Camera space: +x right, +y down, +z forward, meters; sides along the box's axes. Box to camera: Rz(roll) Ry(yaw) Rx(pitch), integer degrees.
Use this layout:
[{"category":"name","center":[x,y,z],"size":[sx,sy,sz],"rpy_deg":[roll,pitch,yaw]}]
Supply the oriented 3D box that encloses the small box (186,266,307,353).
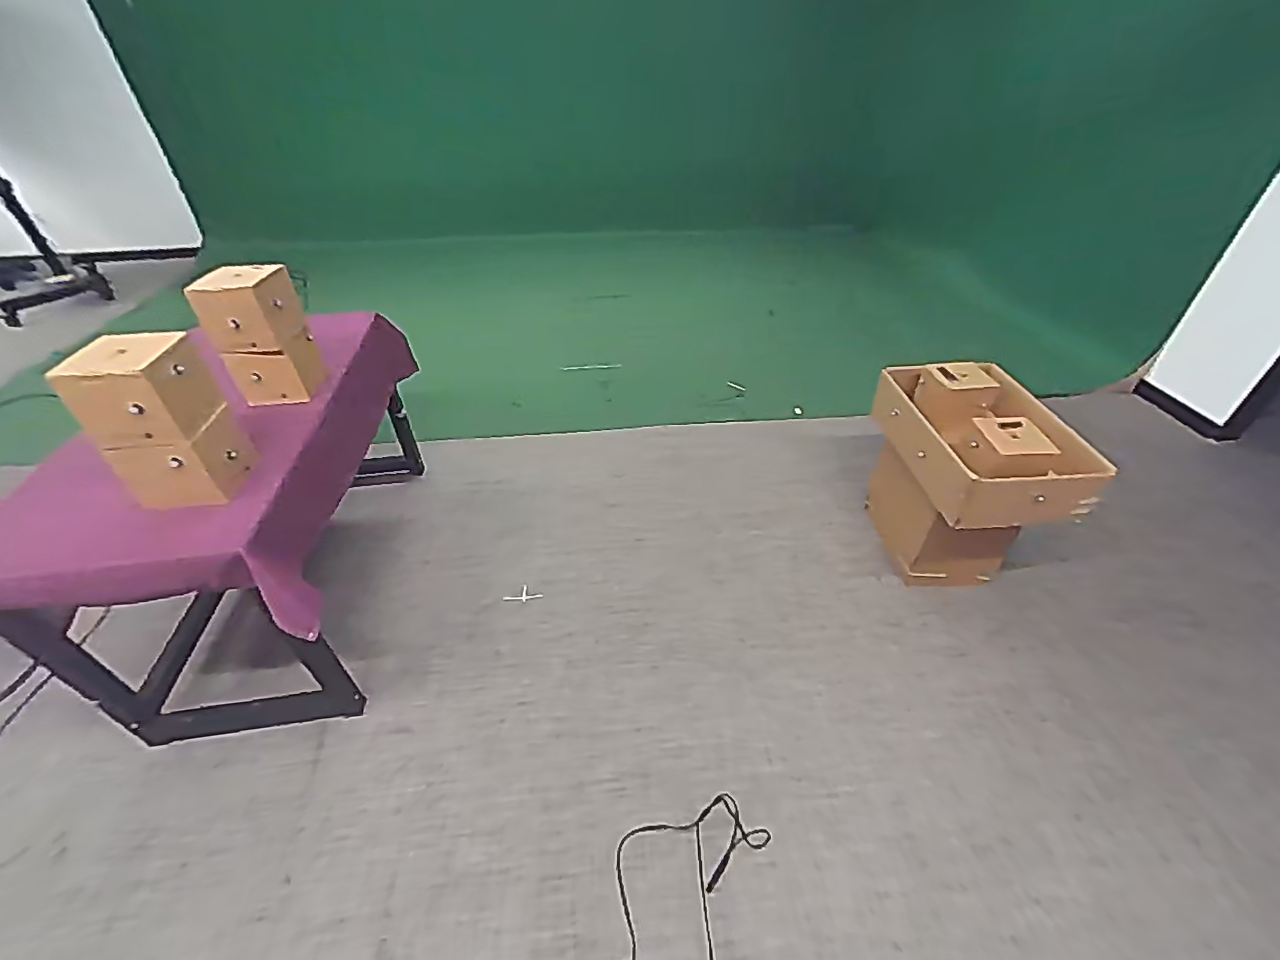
[{"category":"small box","center":[-1.015,-0.444,1.418],"size":[0.168,0.176,0.179],"rpy_deg":[-2,40,-1]}]

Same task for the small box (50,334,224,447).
[{"category":"small box","center":[-0.999,-0.178,1.099],"size":[0.168,0.176,0.179],"rpy_deg":[-4,40,-5]}]

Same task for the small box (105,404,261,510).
[{"category":"small box","center":[-0.994,-0.049,1.200],"size":[0.179,0.176,0.168],"rpy_deg":[-5,39,-3]}]

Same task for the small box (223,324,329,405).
[{"category":"small box","center":[-1.015,-0.322,1.529],"size":[0.168,0.176,0.179],"rpy_deg":[-6,40,-4]}]
